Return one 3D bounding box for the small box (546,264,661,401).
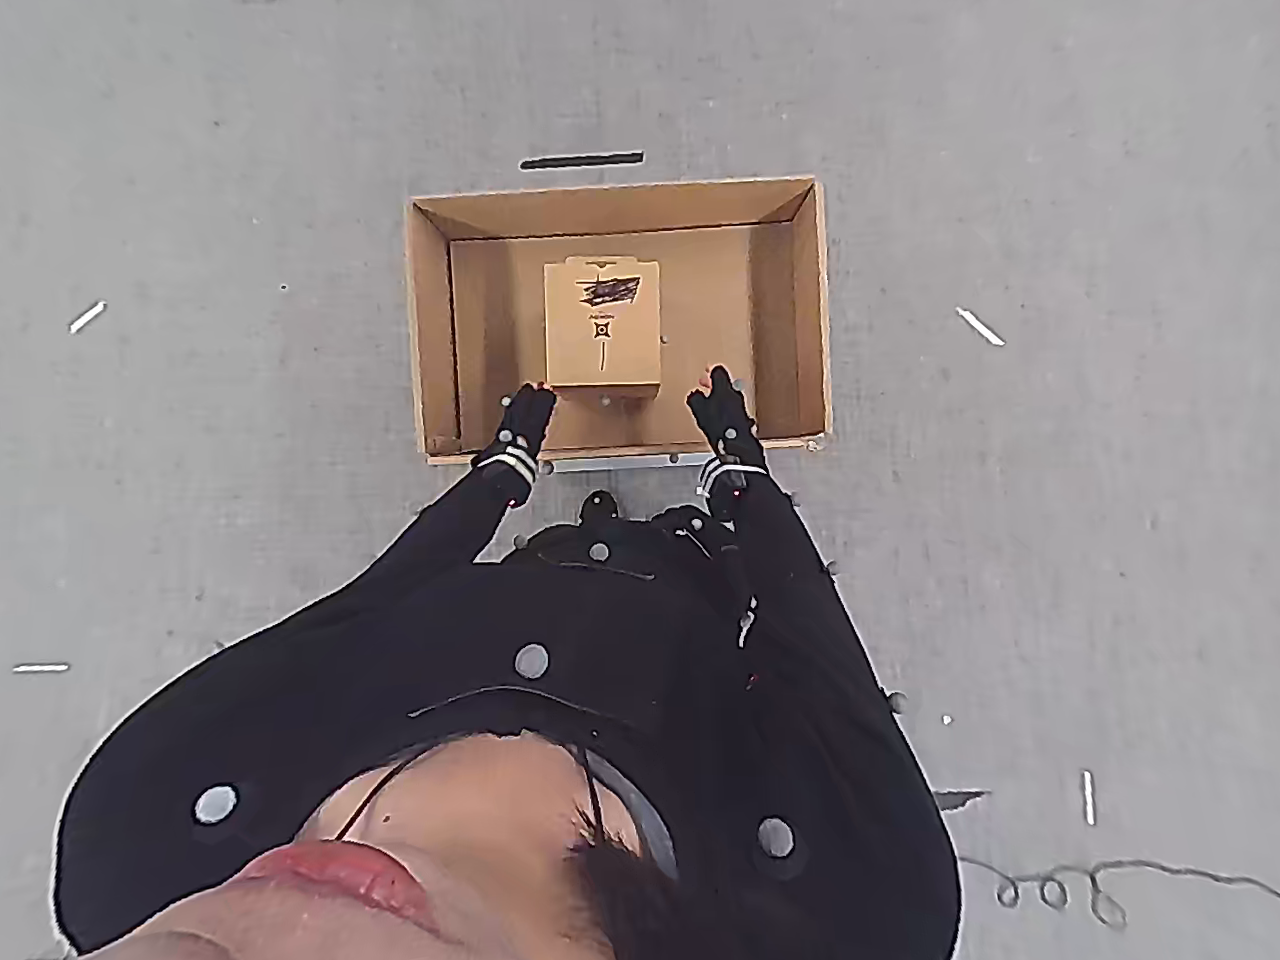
[{"bbox_3d":[-0.053,-0.221,0.849,0.168,0.176,0.179,-1,92,0],"label":"small box"}]
